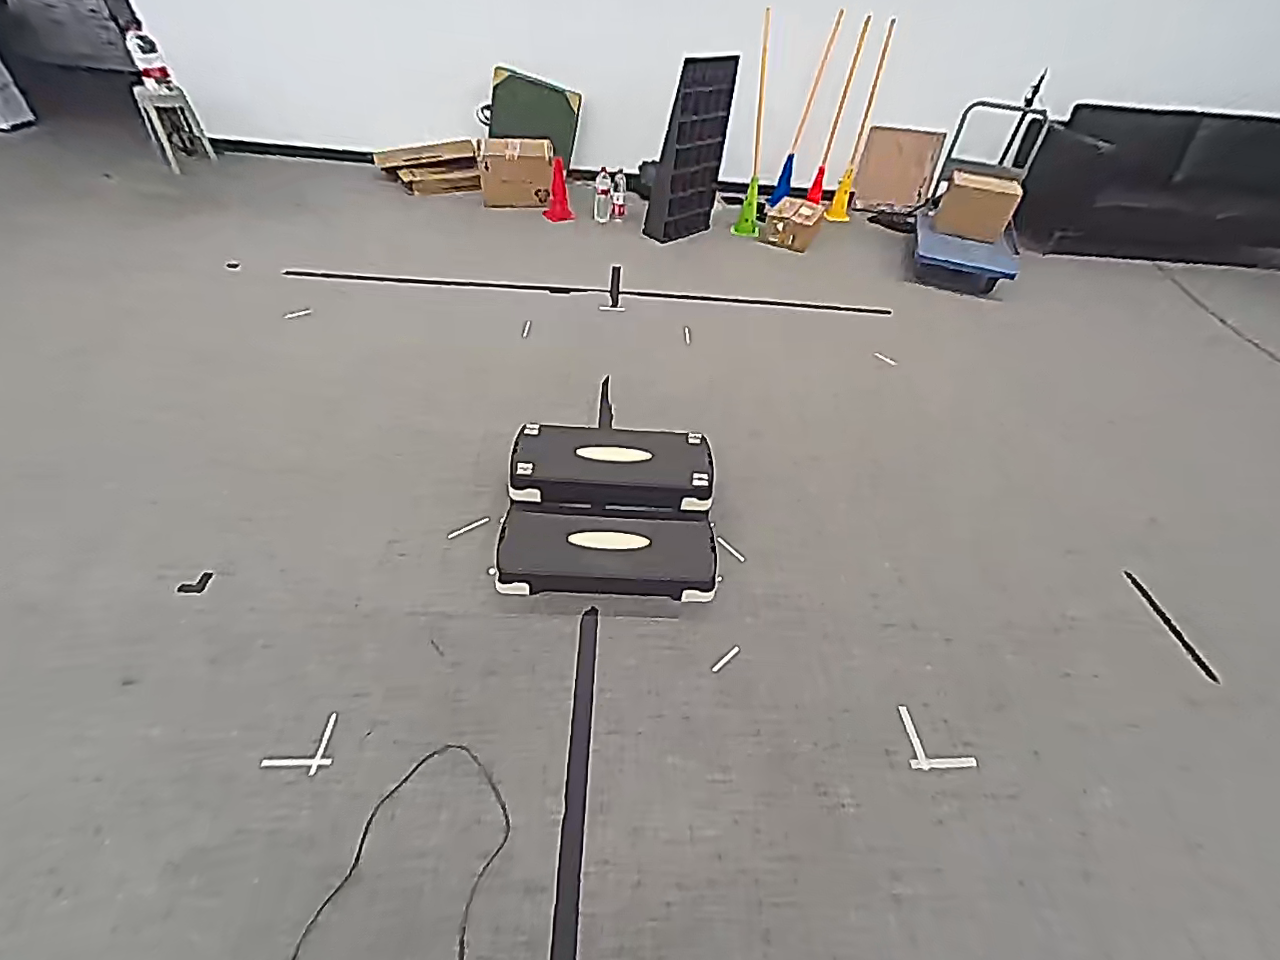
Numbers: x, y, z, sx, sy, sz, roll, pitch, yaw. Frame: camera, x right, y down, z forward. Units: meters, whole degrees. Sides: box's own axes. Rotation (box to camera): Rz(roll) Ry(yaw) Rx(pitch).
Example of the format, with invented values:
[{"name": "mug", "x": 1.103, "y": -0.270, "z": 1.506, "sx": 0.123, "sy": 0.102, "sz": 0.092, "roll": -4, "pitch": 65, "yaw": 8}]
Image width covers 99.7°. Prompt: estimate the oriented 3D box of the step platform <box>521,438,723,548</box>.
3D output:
[{"name": "step platform", "x": -0.057, "y": 0.039, "z": 1.862, "sx": 0.684, "sy": 0.204, "sz": 0.286, "roll": 7, "pitch": 43, "yaw": 0}]
